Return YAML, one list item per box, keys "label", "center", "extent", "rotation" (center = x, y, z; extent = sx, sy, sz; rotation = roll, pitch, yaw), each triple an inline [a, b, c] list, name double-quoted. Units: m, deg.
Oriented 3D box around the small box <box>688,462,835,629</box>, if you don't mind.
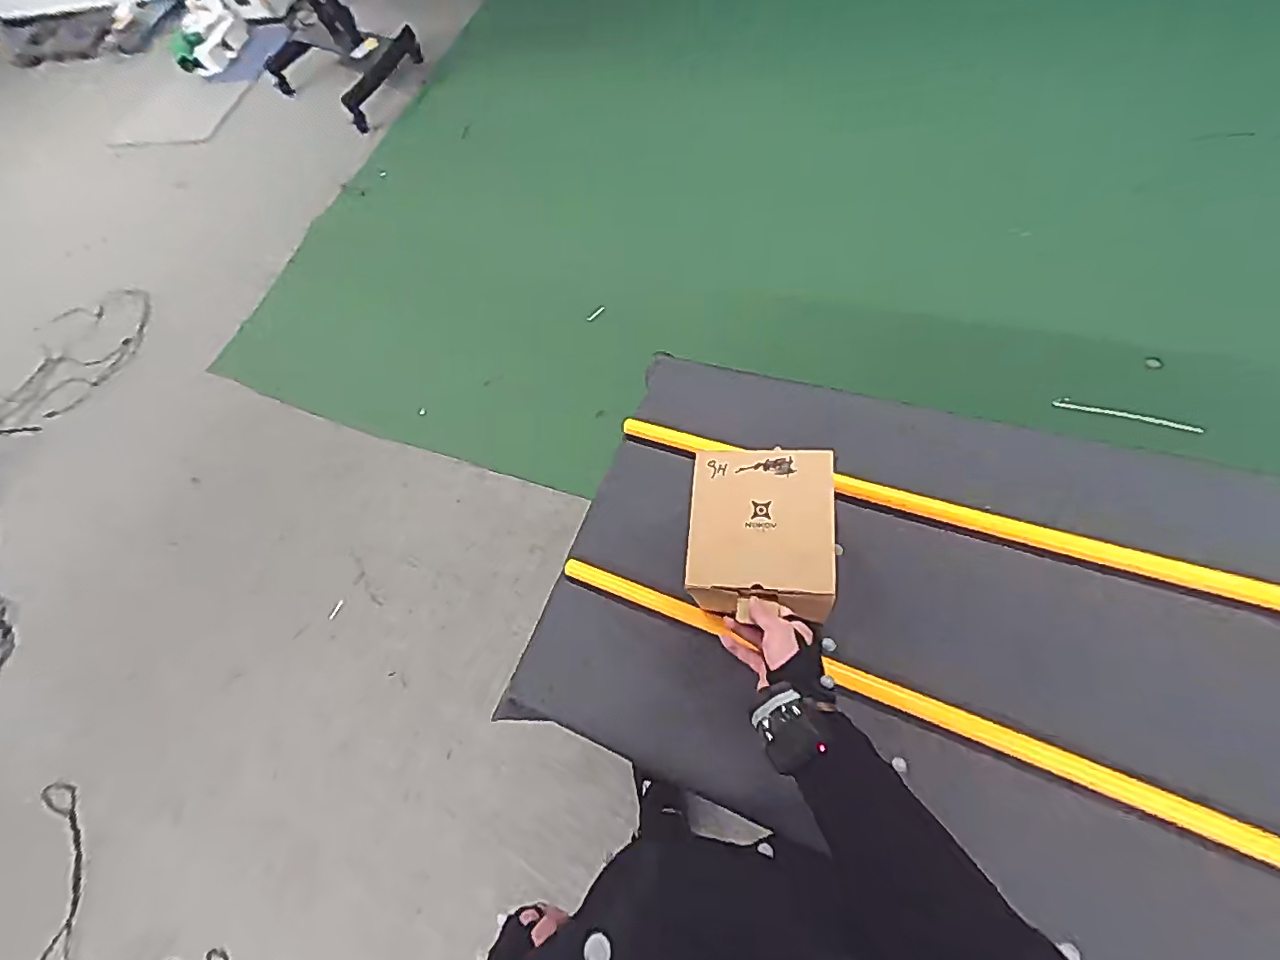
- label: "small box"
  center: [0.163, 0.094, 0.704]
  extent: [0.168, 0.176, 0.179]
  rotation: [-3, 65, 16]
